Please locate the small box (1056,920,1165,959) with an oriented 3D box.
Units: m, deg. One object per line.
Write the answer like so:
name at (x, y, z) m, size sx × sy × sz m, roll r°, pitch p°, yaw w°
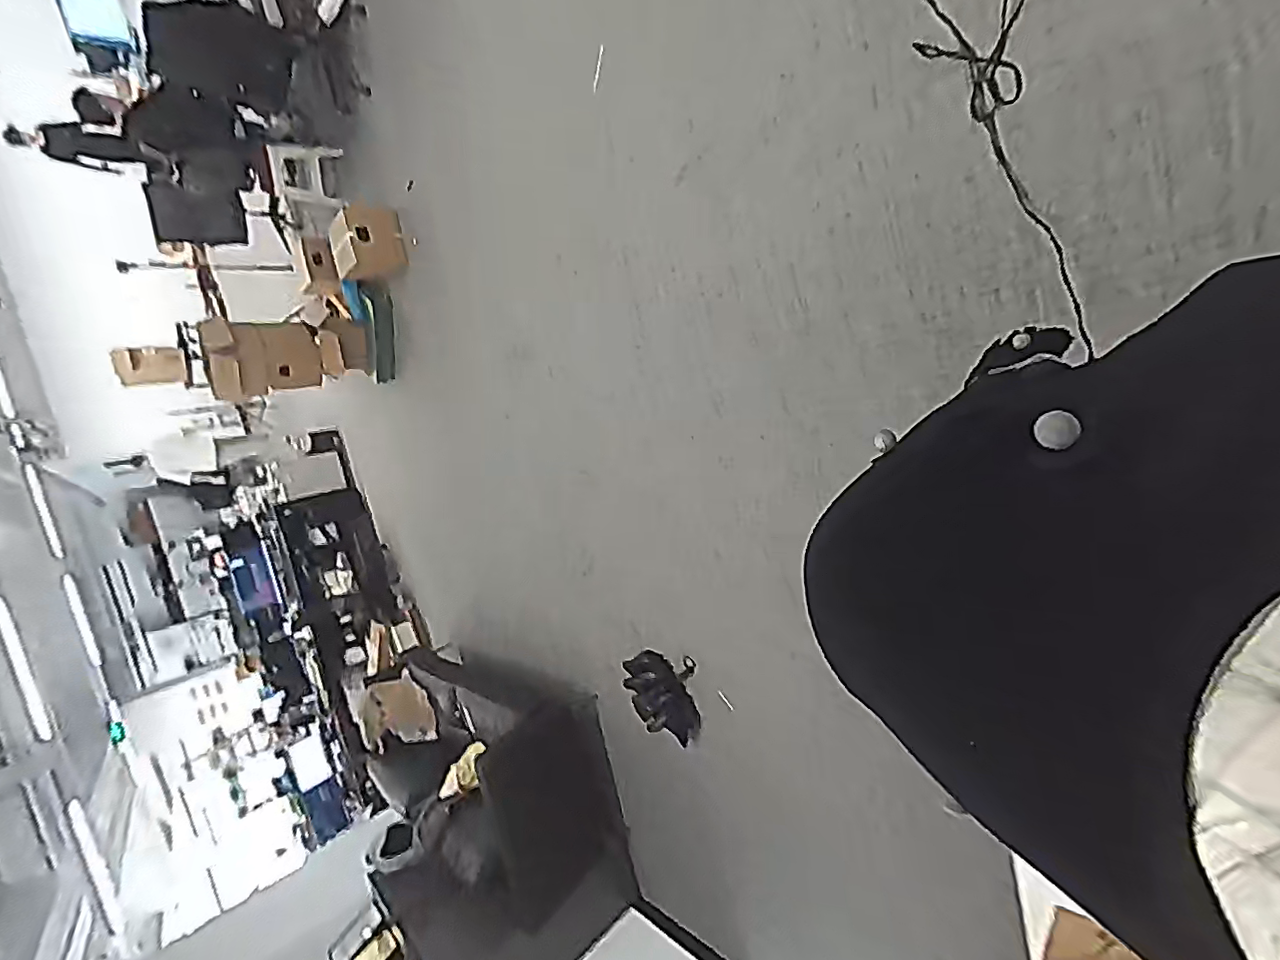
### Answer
small box at (0.672, 0.763, 0.731) m, size 0.168 × 0.176 × 0.179 m, roll -8°, pitch 98°, yaw 50°
